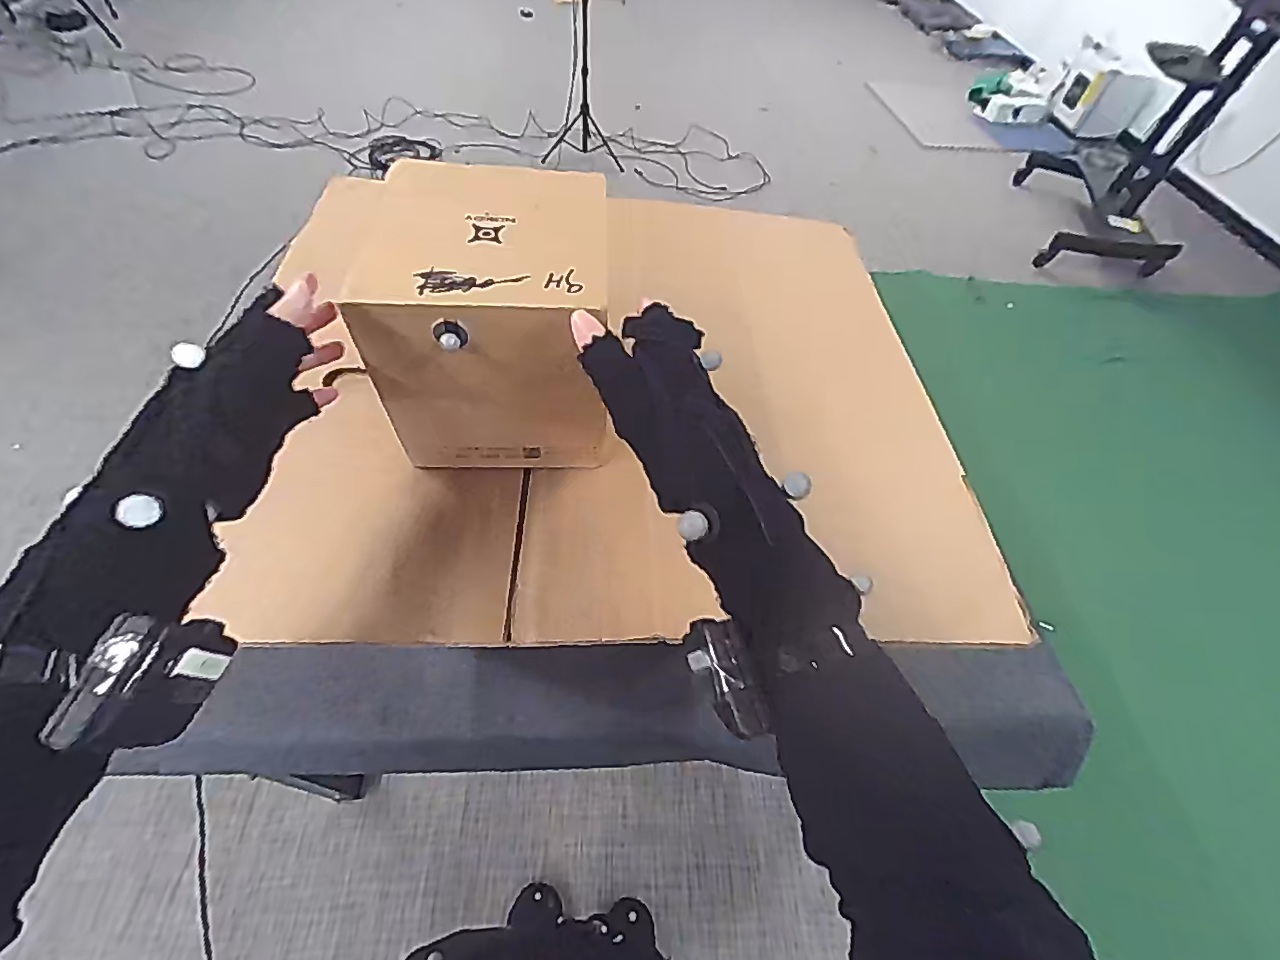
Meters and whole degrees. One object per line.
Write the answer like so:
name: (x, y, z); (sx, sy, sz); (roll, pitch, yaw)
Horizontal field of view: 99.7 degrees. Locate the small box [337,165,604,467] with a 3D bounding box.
small box: (-0.114, -0.131, 0.450); (0.168, 0.176, 0.179); (0, 54, -4)
